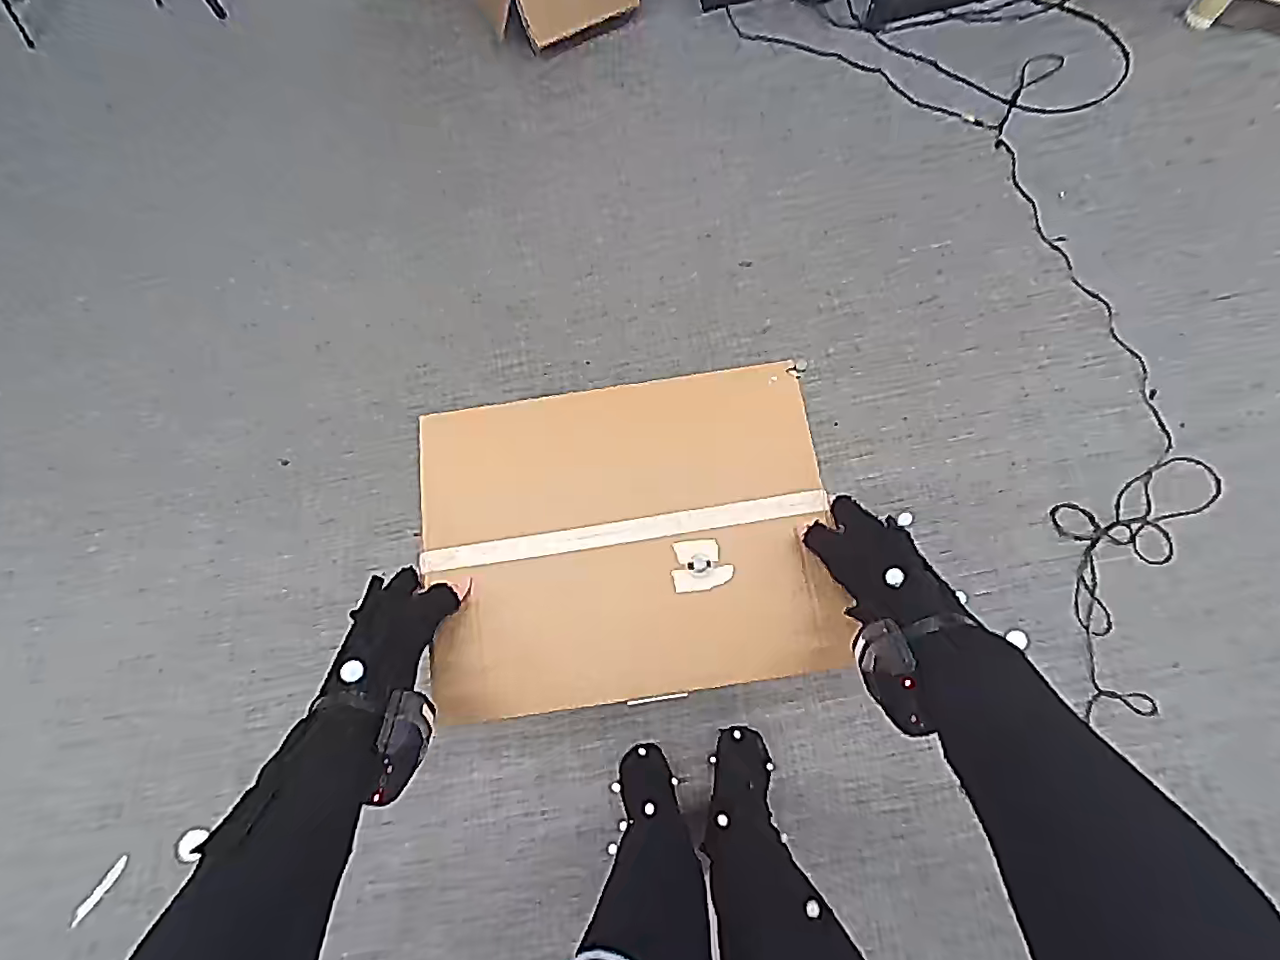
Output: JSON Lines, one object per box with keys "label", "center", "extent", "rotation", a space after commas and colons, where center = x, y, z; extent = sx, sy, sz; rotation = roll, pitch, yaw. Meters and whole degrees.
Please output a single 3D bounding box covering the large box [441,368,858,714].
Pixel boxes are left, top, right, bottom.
{"label": "large box", "center": [0.000, 0.090, 0.706], "extent": [0.408, 0.320, 0.320], "rotation": [-8, 76, 0]}
